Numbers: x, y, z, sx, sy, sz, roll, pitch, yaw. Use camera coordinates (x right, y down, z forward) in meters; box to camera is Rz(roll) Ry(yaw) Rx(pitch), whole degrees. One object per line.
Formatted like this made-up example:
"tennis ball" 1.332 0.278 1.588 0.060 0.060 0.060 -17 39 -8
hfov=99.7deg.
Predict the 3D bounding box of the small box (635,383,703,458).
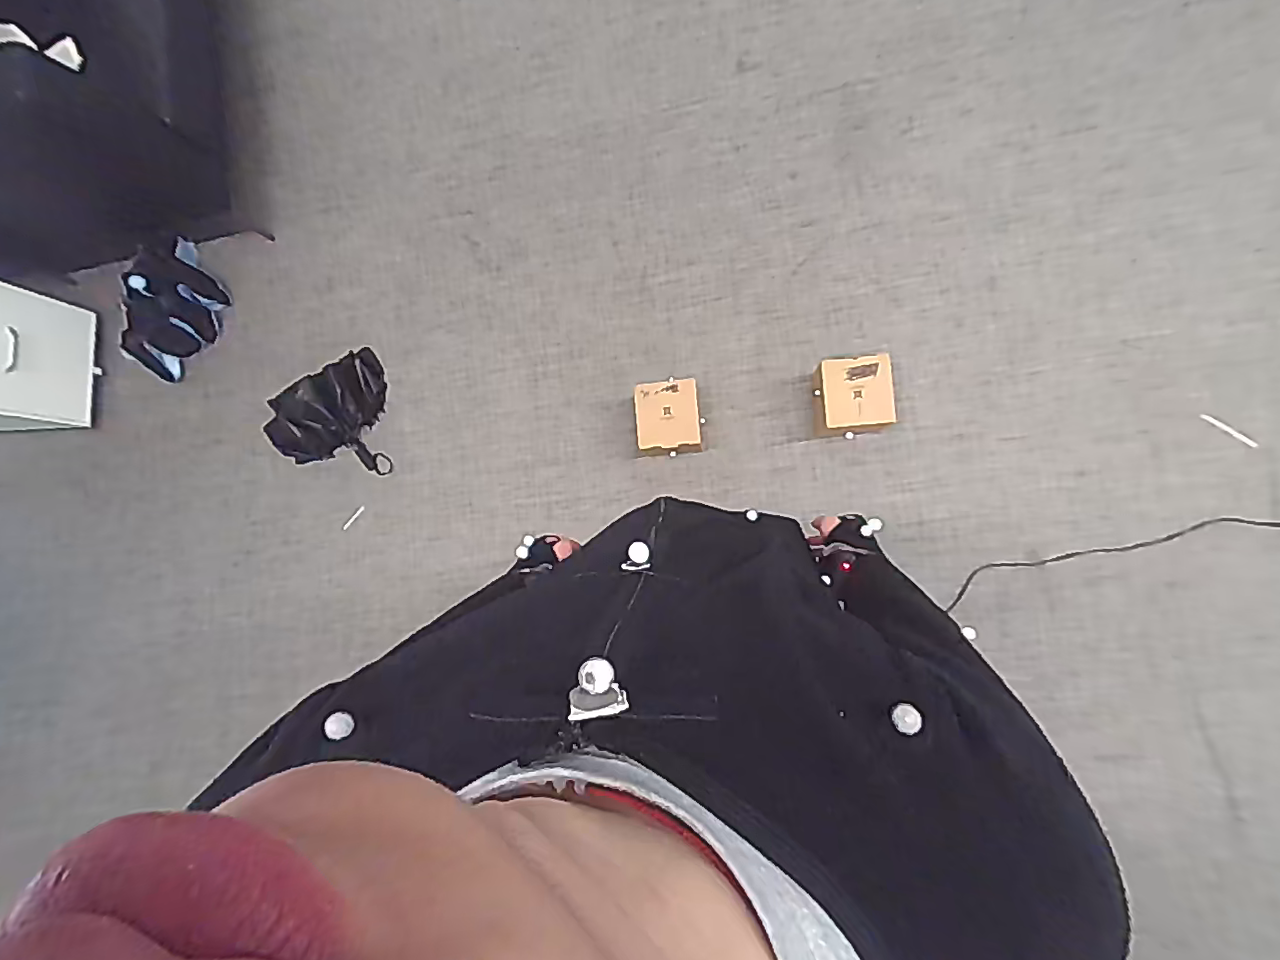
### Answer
"small box" 0.084 -0.156 1.499 0.168 0.176 0.179 -5 85 9

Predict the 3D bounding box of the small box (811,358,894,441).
"small box" 0.552 -0.207 1.425 0.168 0.176 0.179 -5 86 10
